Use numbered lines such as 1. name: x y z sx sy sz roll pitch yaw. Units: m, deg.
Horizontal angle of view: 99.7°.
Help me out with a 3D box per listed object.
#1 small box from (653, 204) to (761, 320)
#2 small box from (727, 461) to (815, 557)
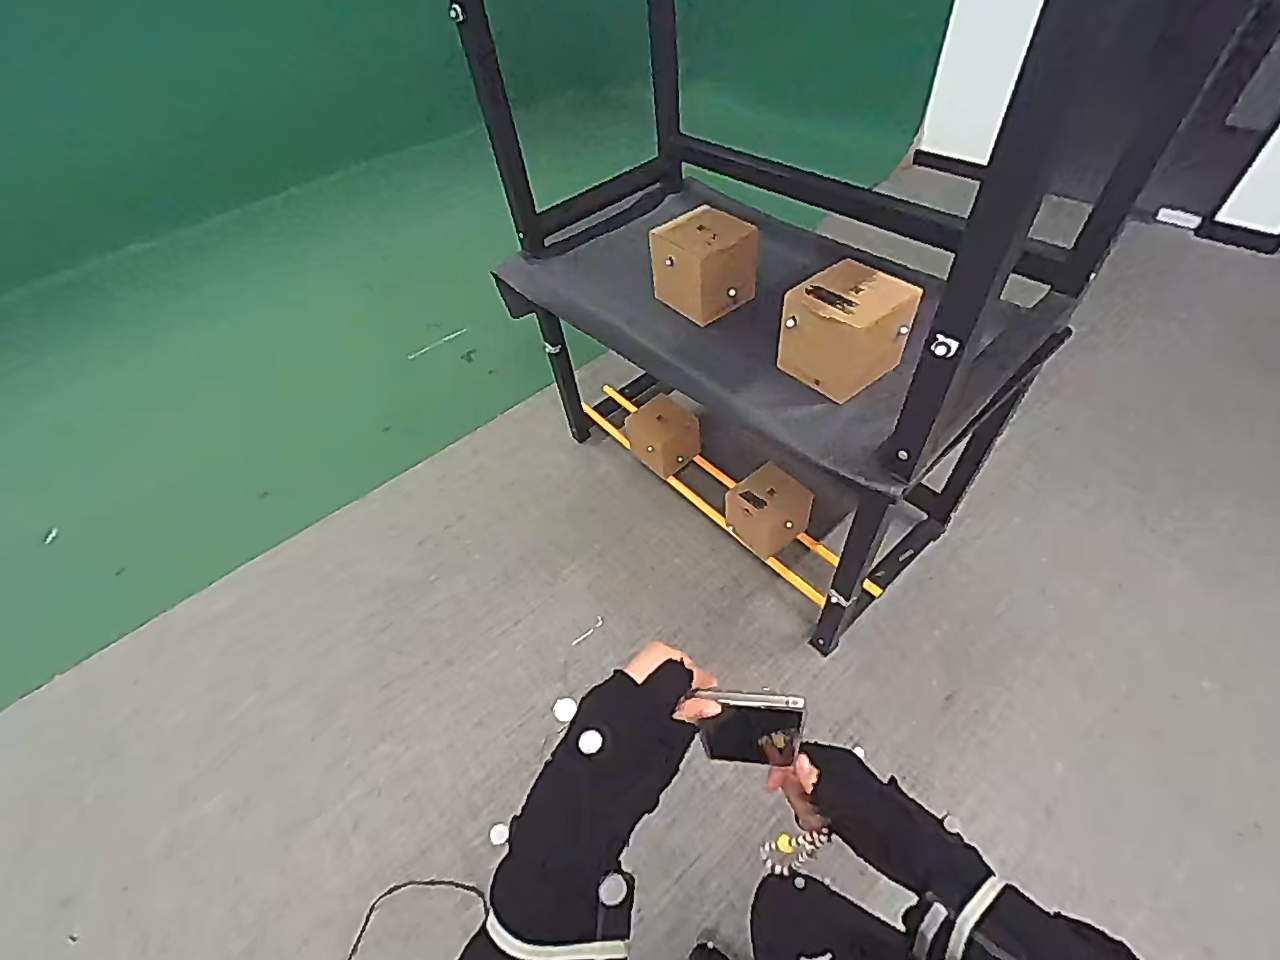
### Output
1. small box: 0.149 -0.489 1.220 0.168 0.176 0.179 -33 54 -18
2. small box: 0.367 0.085 1.528 0.179 0.176 0.168 -33 54 -18
